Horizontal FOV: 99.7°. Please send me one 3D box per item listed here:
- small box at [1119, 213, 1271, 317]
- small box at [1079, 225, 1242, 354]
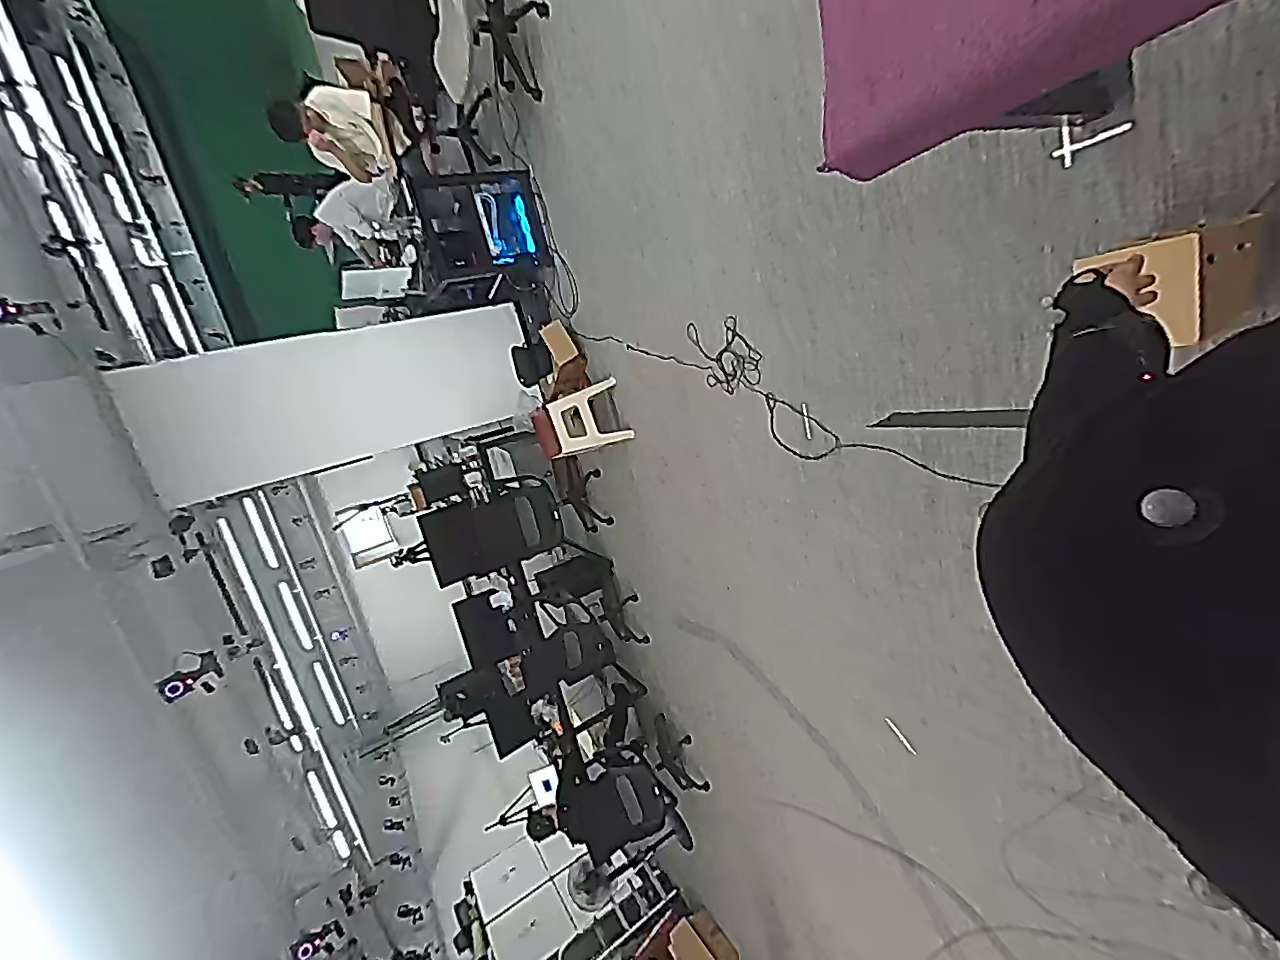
[{"bbox_3d":[1.034,-0.385,1.018,0.168,0.176,0.179,18,124,57],"label":"small box"},{"bbox_3d":[0.900,-0.329,0.939,0.168,0.176,0.179,9,117,60],"label":"small box"}]
